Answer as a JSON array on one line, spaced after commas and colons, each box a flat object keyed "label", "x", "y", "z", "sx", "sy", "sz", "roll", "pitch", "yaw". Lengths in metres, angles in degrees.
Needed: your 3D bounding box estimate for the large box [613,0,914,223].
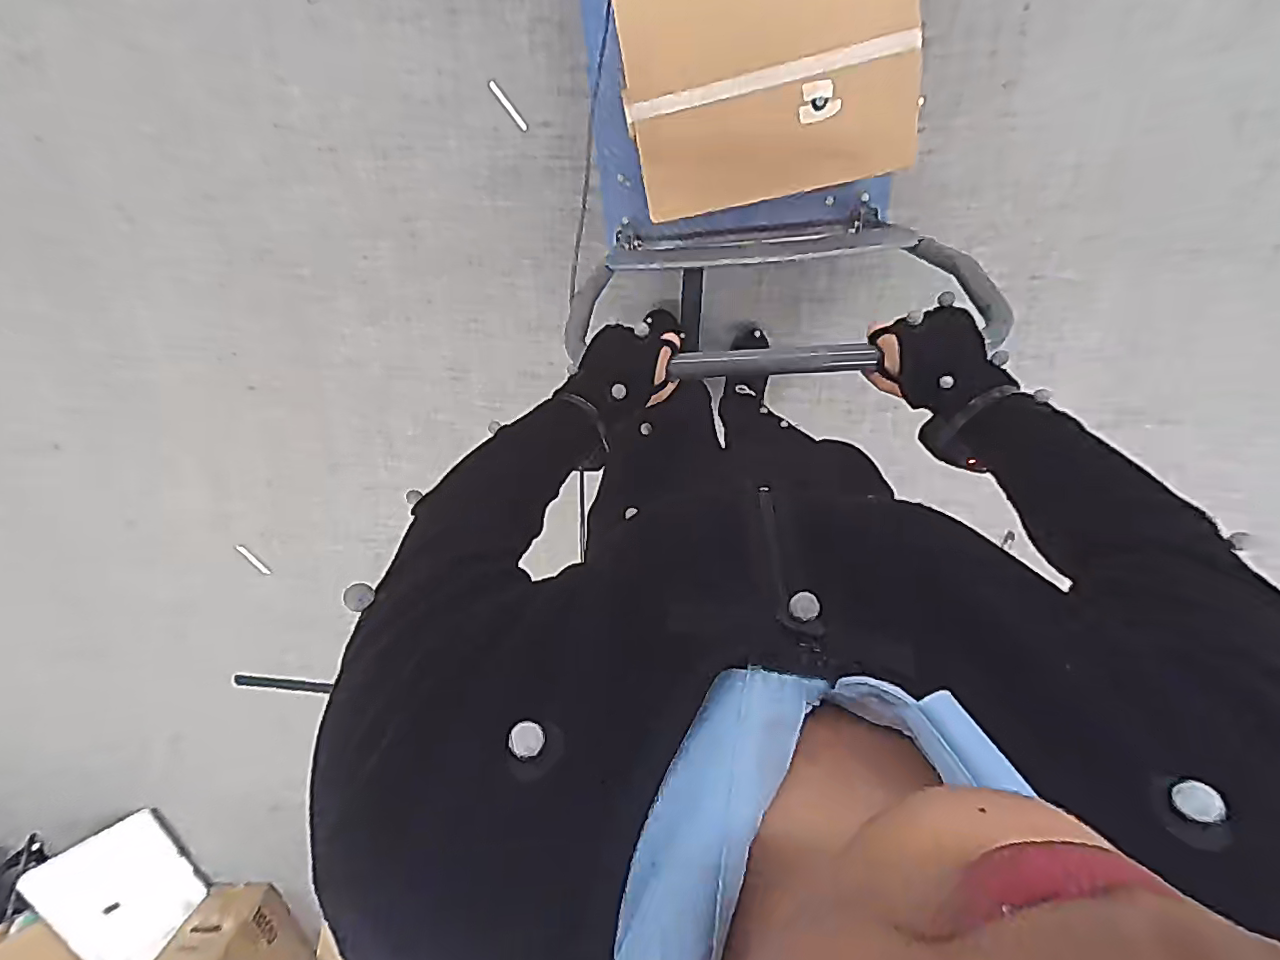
[{"label": "large box", "x": 0.198, "y": -0.655, "z": 0.913, "sx": 0.408, "sy": 0.320, "sz": 0.320, "roll": -8, "pitch": 119, "yaw": 10}]
